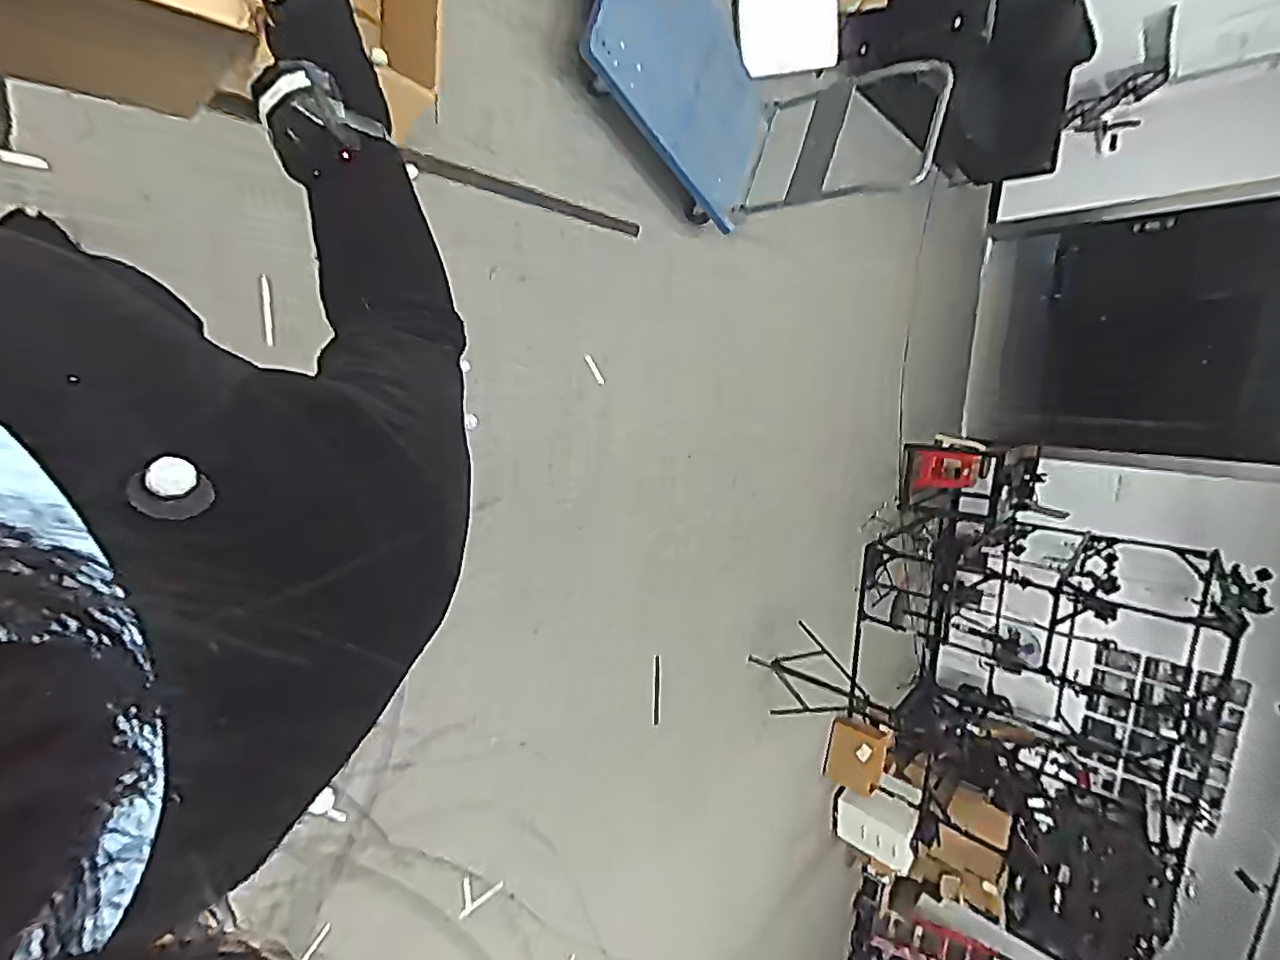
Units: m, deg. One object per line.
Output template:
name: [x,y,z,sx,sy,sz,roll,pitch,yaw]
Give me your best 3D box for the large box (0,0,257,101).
large box: [-0.523,-0.488,0.327,0.408,0.320,0.320,-13,112,-43]
